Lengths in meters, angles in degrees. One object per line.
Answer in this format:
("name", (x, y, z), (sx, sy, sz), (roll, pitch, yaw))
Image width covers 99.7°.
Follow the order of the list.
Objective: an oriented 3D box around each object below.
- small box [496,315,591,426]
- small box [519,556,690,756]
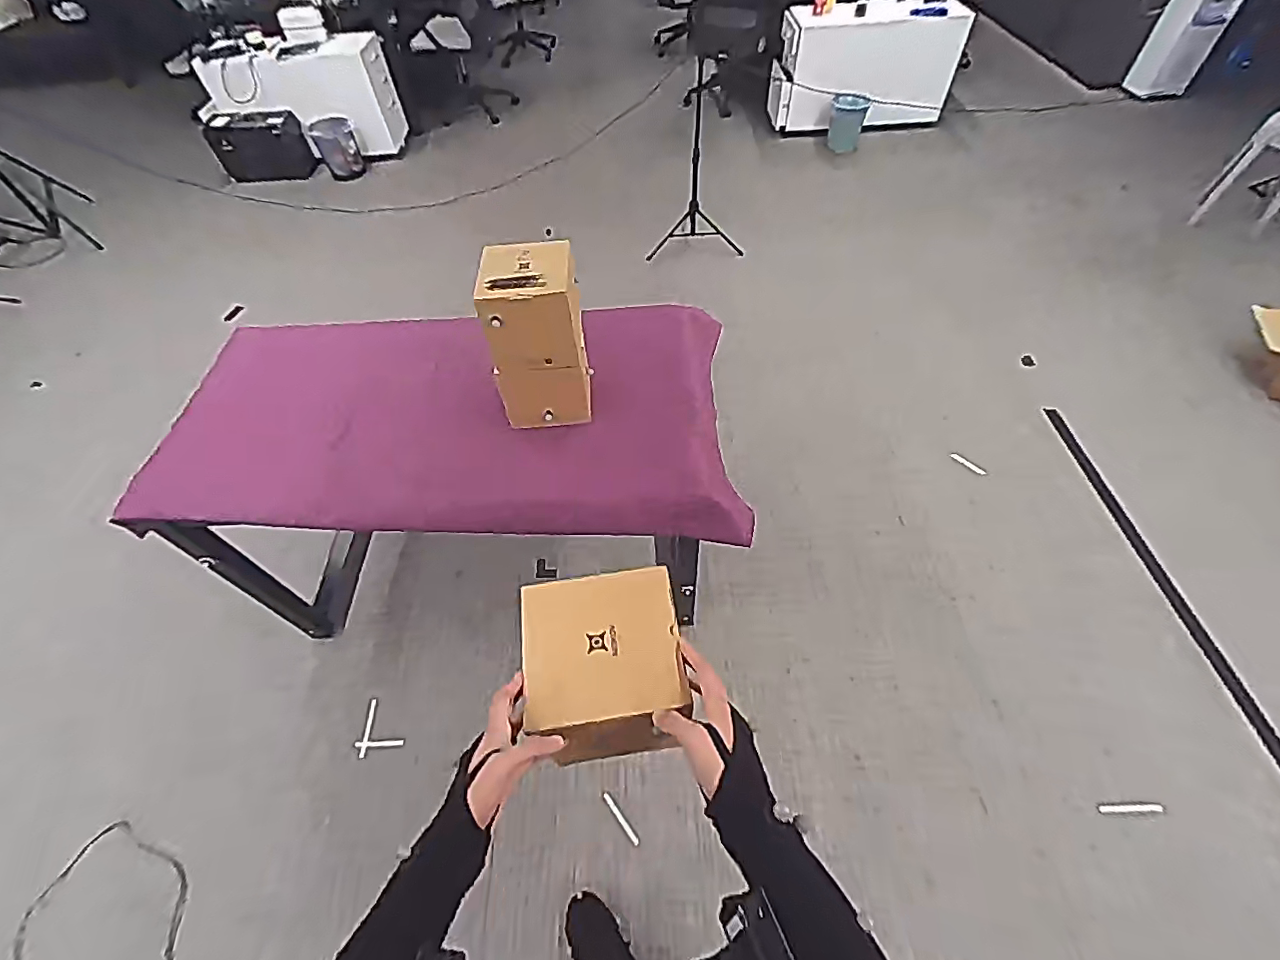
("small box", (-0.198, -0.233, 1.168), (0.179, 0.176, 0.168), (-5, 53, -1))
("small box", (-0.039, 0.214, 0.646), (0.179, 0.176, 0.168), (-8, 52, -3))
